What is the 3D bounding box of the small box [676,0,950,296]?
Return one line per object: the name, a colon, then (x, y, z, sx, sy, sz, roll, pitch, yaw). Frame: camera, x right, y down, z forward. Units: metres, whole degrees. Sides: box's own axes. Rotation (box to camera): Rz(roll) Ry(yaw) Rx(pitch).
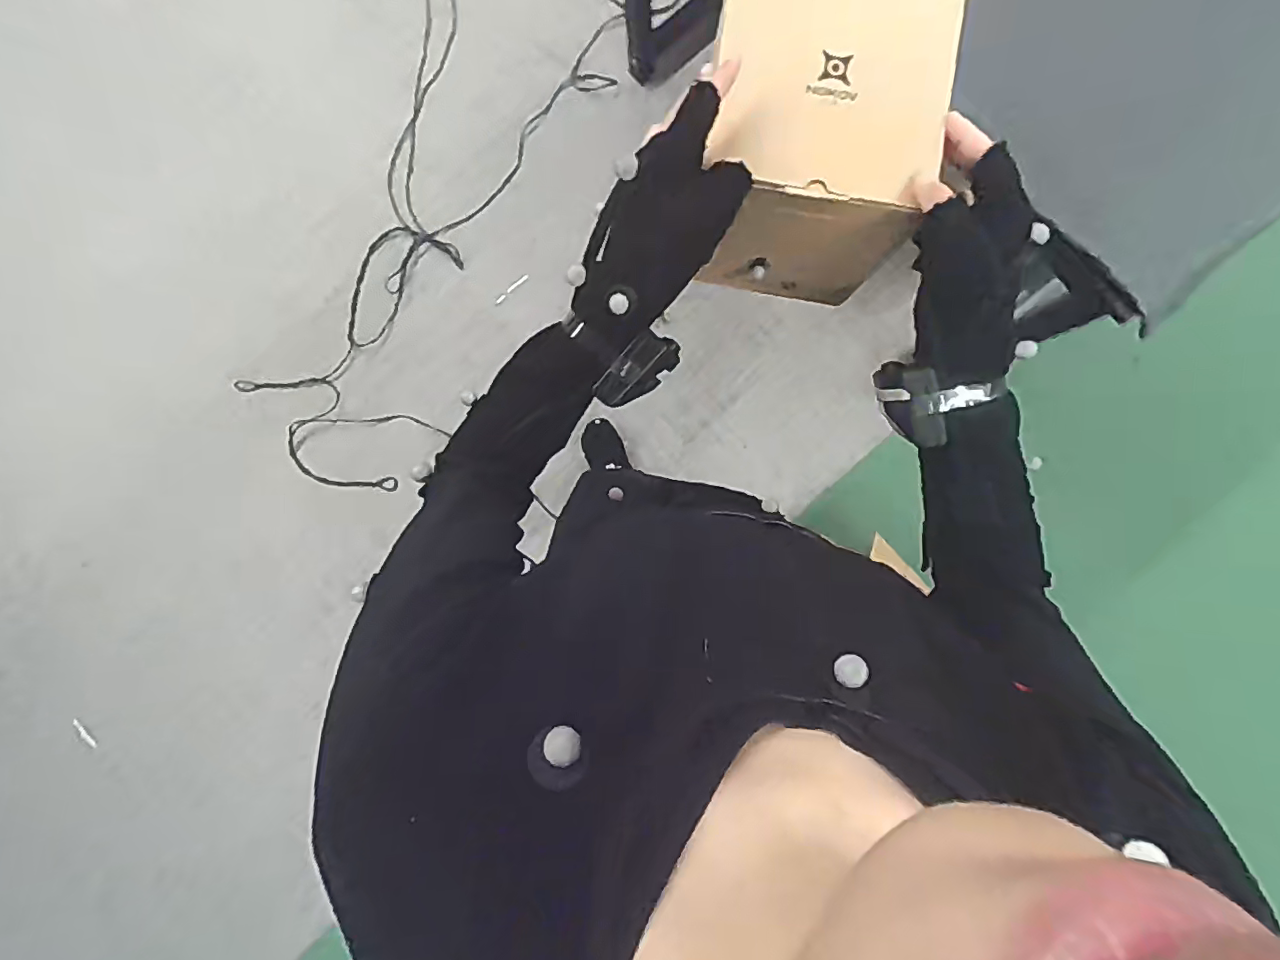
small box: (0.126, -0.281, 0.456, 0.168, 0.176, 0.179, 8, 88, 0)
